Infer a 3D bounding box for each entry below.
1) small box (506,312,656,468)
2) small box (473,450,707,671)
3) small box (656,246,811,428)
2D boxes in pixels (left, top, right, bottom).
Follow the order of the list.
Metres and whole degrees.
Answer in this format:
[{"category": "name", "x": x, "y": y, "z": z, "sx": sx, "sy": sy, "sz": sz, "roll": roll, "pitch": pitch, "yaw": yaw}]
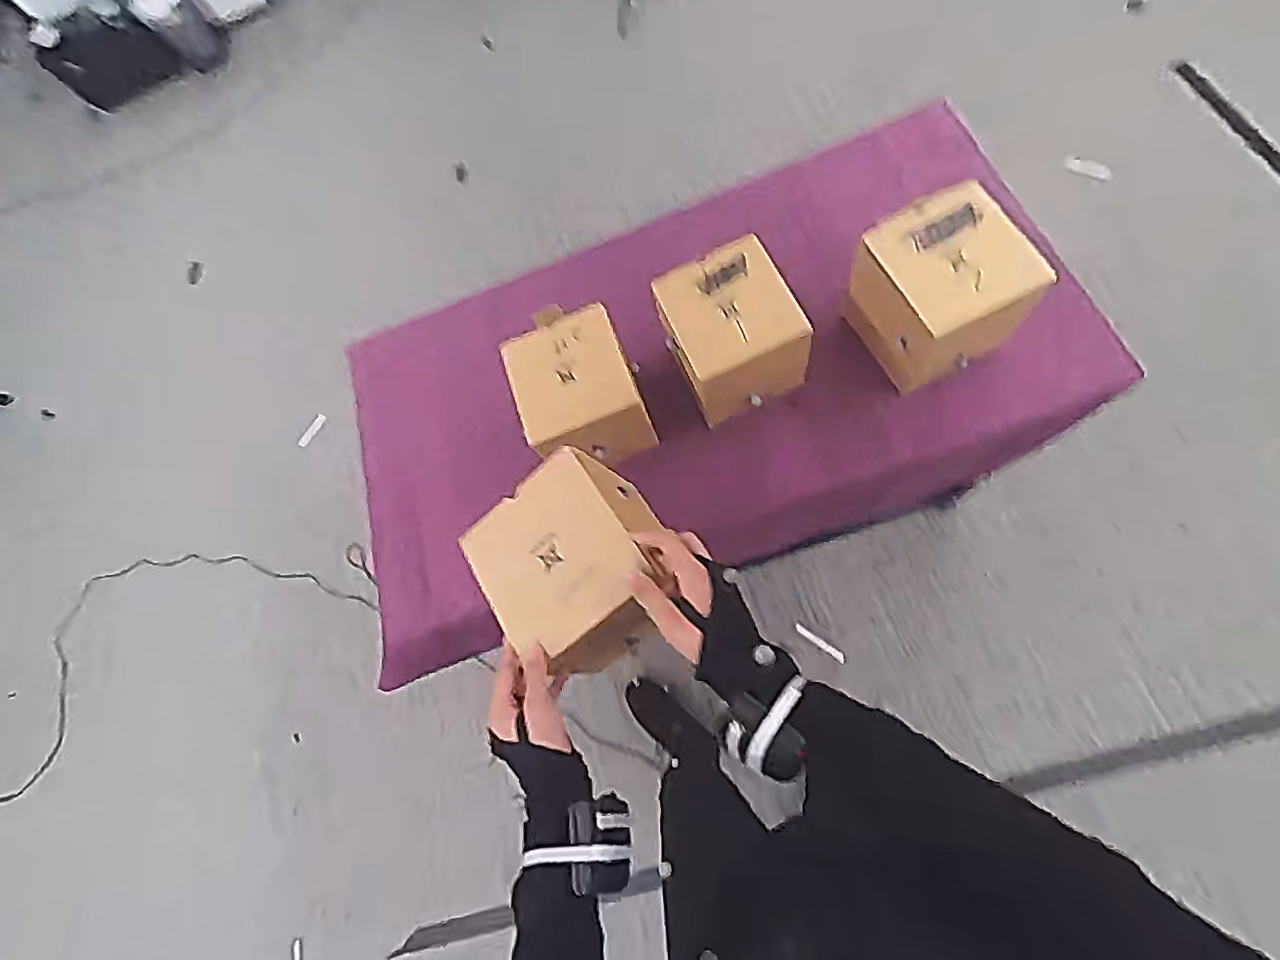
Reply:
[{"category": "small box", "x": -0.085, "y": -0.121, "z": 0.851, "sx": 0.168, "sy": 0.176, "sz": 0.179, "roll": -21, "pitch": 69, "yaw": 5}, {"category": "small box", "x": -0.052, "y": 0.102, "z": 0.622, "sx": 0.168, "sy": 0.176, "sz": 0.179, "roll": -40, "pitch": 61, "yaw": 8}, {"category": "small box", "x": 0.141, "y": -0.209, "z": 0.830, "sx": 0.168, "sy": 0.176, "sz": 0.179, "roll": -25, "pitch": 69, "yaw": 4}]
